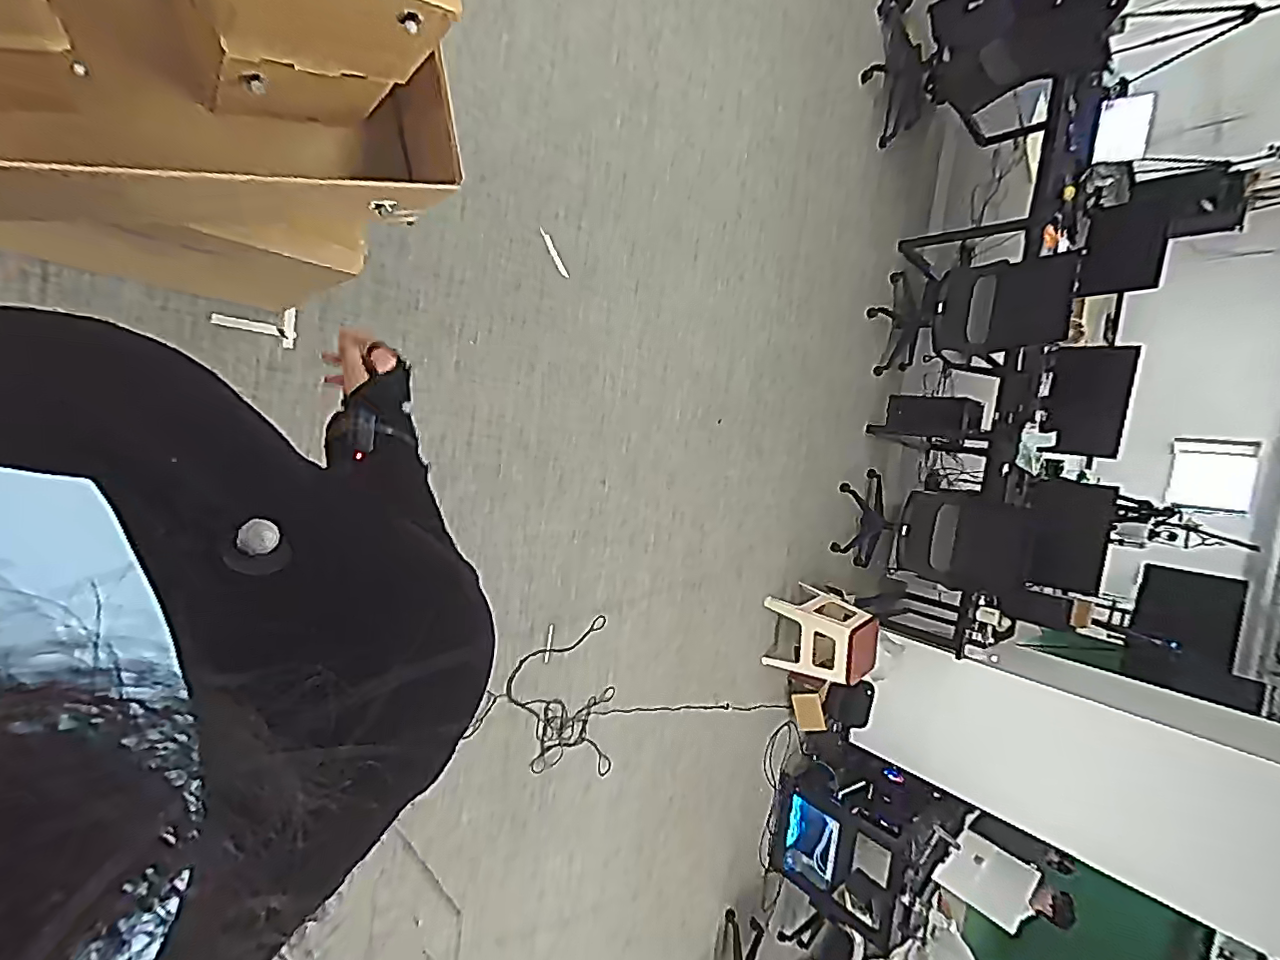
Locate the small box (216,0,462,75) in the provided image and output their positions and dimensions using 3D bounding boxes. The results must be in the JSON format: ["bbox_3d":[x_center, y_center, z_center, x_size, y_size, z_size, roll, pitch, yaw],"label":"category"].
[{"bbox_3d":[-0.287,-0.509,0.492,0.179,0.176,0.168,-15,109,-40],"label":"small box"}]
